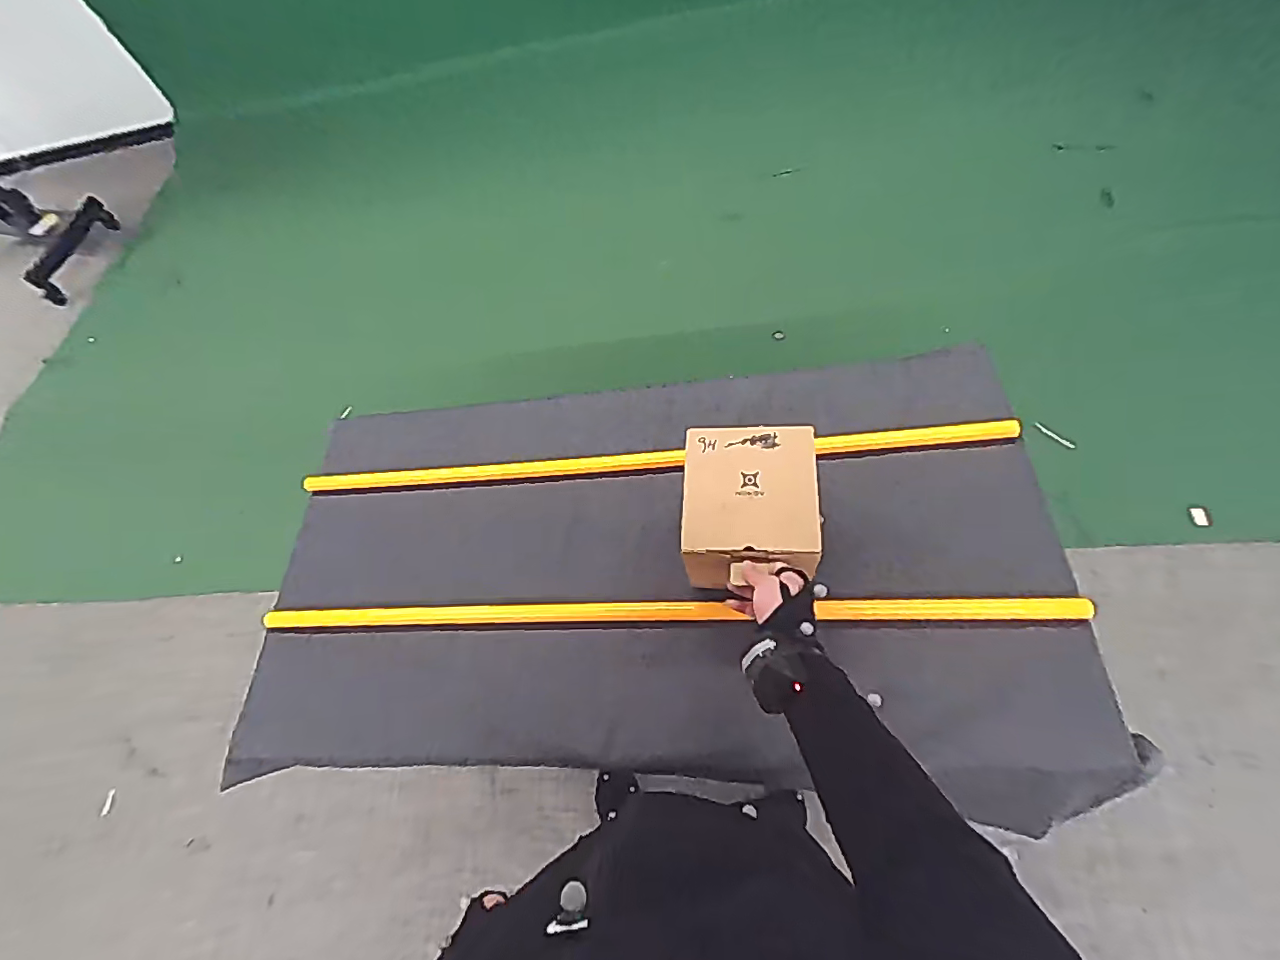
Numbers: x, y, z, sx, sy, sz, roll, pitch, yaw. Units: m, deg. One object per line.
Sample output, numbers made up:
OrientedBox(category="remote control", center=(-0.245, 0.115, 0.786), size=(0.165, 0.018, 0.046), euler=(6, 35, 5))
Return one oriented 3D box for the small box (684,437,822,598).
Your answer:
OrientedBox(category="small box", center=(0.154, 0.062, 0.748), size=(0.168, 0.176, 0.179), euler=(-4, 63, 12))
